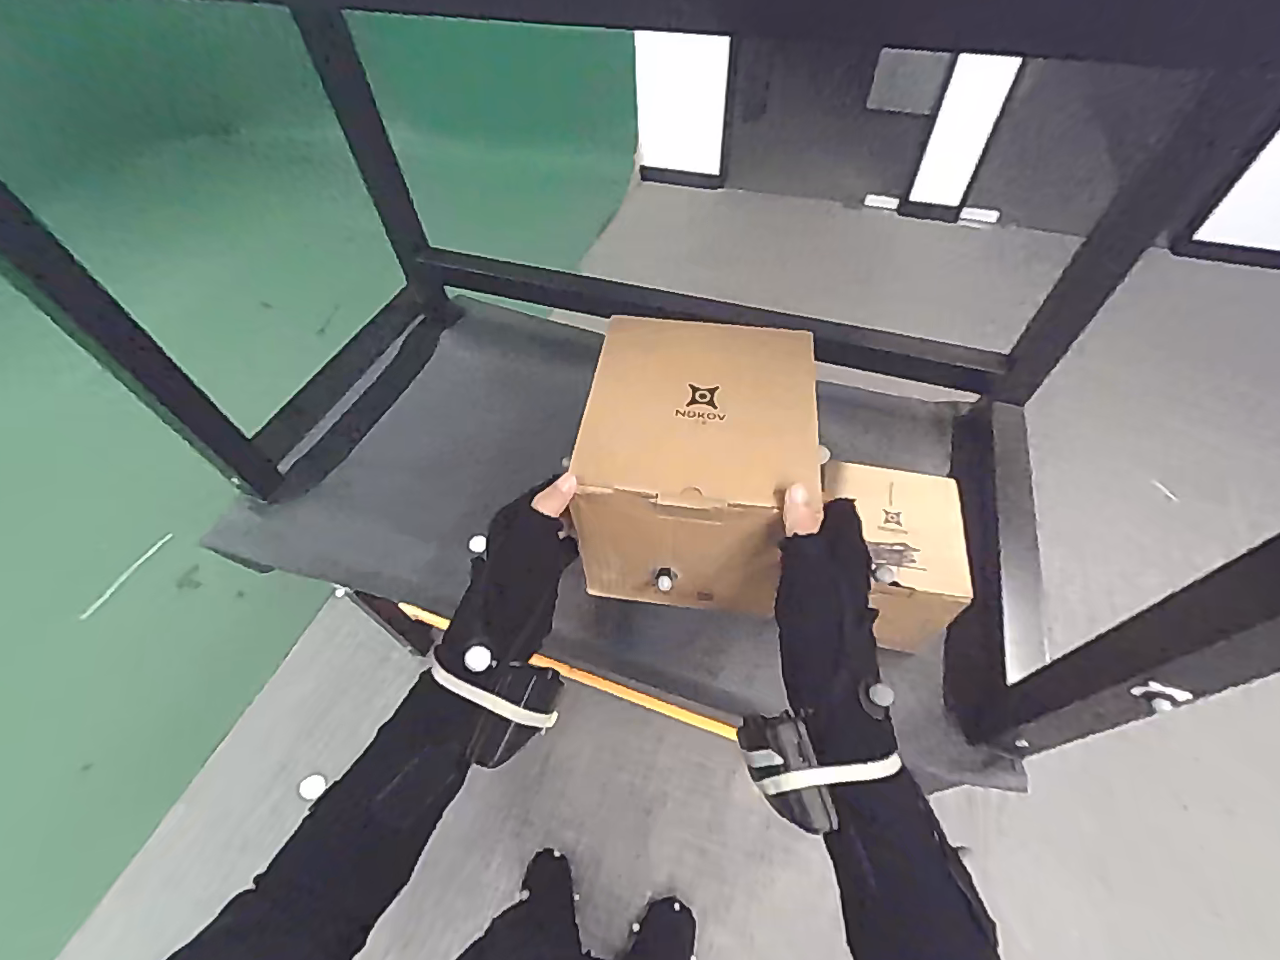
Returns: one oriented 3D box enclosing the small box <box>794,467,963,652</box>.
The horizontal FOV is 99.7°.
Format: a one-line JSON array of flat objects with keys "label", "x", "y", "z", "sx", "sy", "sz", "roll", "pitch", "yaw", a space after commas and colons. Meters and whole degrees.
[{"label": "small box", "x": 0.309, "y": 0.111, "z": 0.732, "sx": 0.168, "sy": 0.176, "sz": 0.179, "roll": 10, "pitch": 52, "yaw": 10}]
